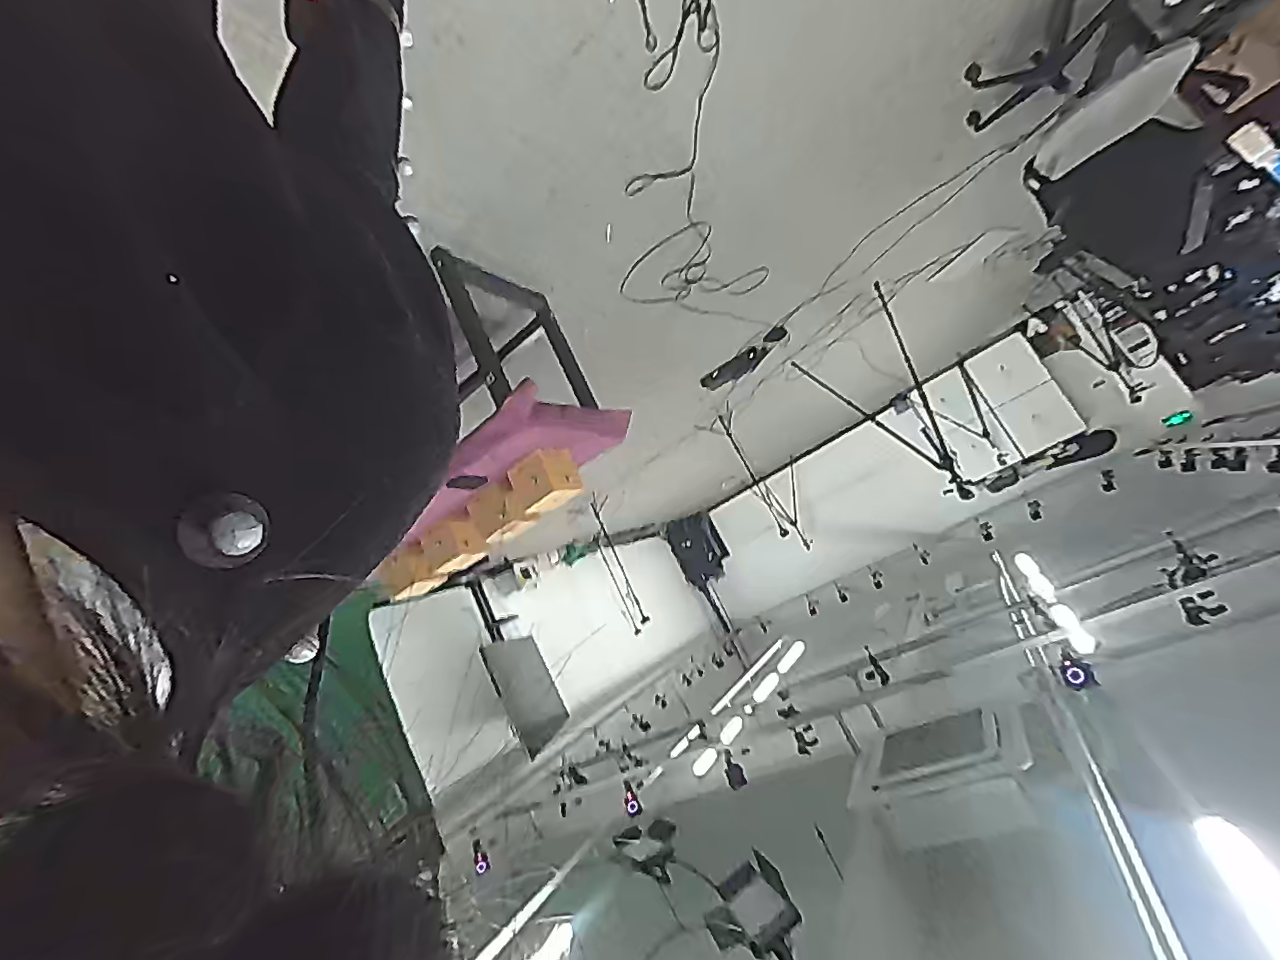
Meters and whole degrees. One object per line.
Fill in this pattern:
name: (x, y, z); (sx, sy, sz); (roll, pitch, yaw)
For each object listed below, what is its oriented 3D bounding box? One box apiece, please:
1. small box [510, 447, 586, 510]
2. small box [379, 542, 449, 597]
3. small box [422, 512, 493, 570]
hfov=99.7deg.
small box: (-0.331, -0.009, 1.925); (0.168, 0.176, 0.179); (-33, 166, 27)
small box: (-0.928, 0.360, 2.219); (0.168, 0.176, 0.179); (-32, 166, 19)
small box: (-0.721, 0.235, 2.123); (0.168, 0.176, 0.179); (-31, 167, 21)
